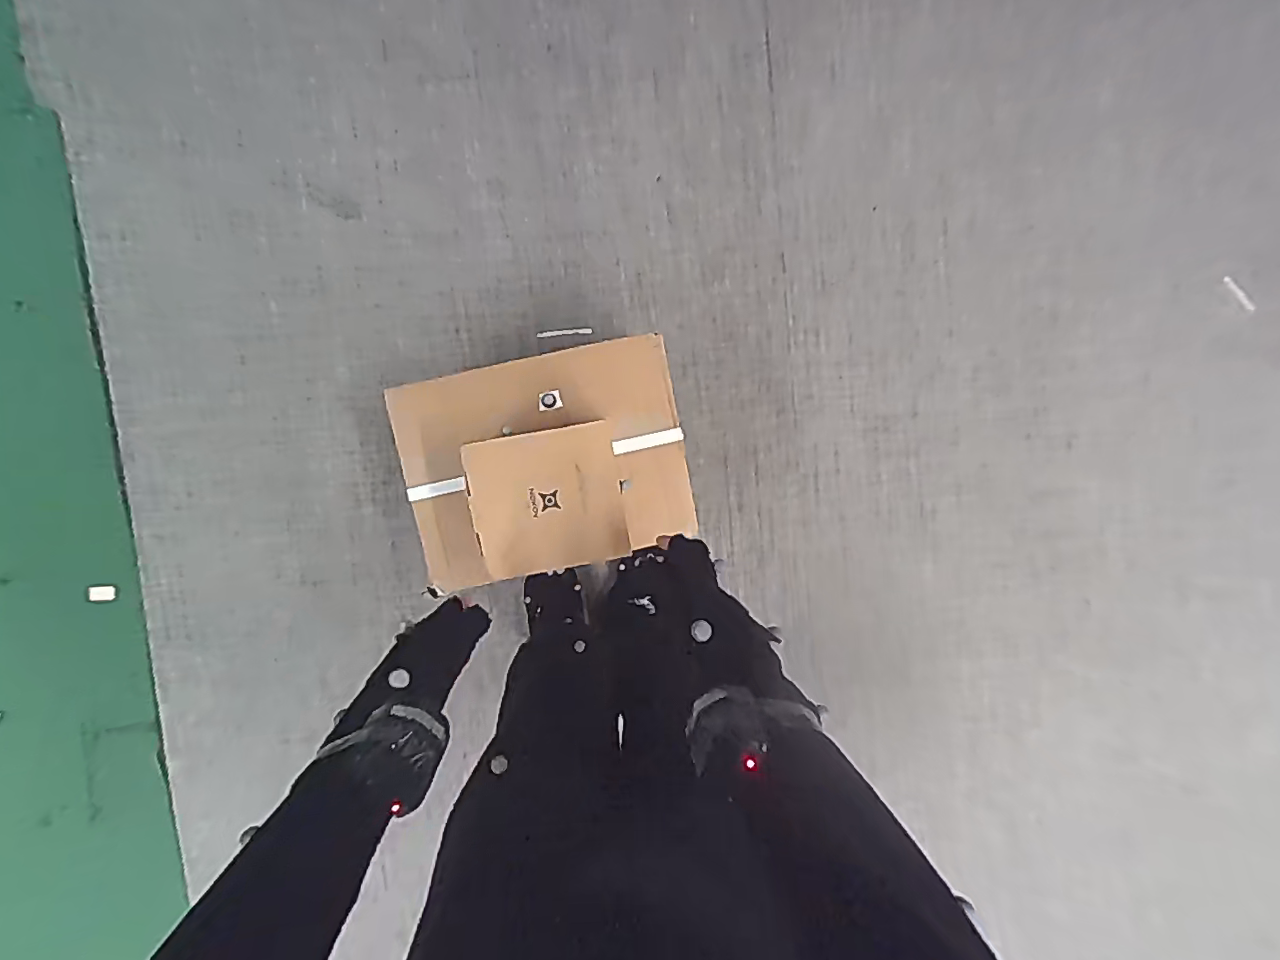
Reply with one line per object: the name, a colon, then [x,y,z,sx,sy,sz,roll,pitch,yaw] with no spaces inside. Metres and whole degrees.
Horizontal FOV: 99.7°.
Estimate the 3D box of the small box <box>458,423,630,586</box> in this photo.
small box: [-0.113,0.024,0.702,0.179,0.176,0.168,-11,96,-3]
